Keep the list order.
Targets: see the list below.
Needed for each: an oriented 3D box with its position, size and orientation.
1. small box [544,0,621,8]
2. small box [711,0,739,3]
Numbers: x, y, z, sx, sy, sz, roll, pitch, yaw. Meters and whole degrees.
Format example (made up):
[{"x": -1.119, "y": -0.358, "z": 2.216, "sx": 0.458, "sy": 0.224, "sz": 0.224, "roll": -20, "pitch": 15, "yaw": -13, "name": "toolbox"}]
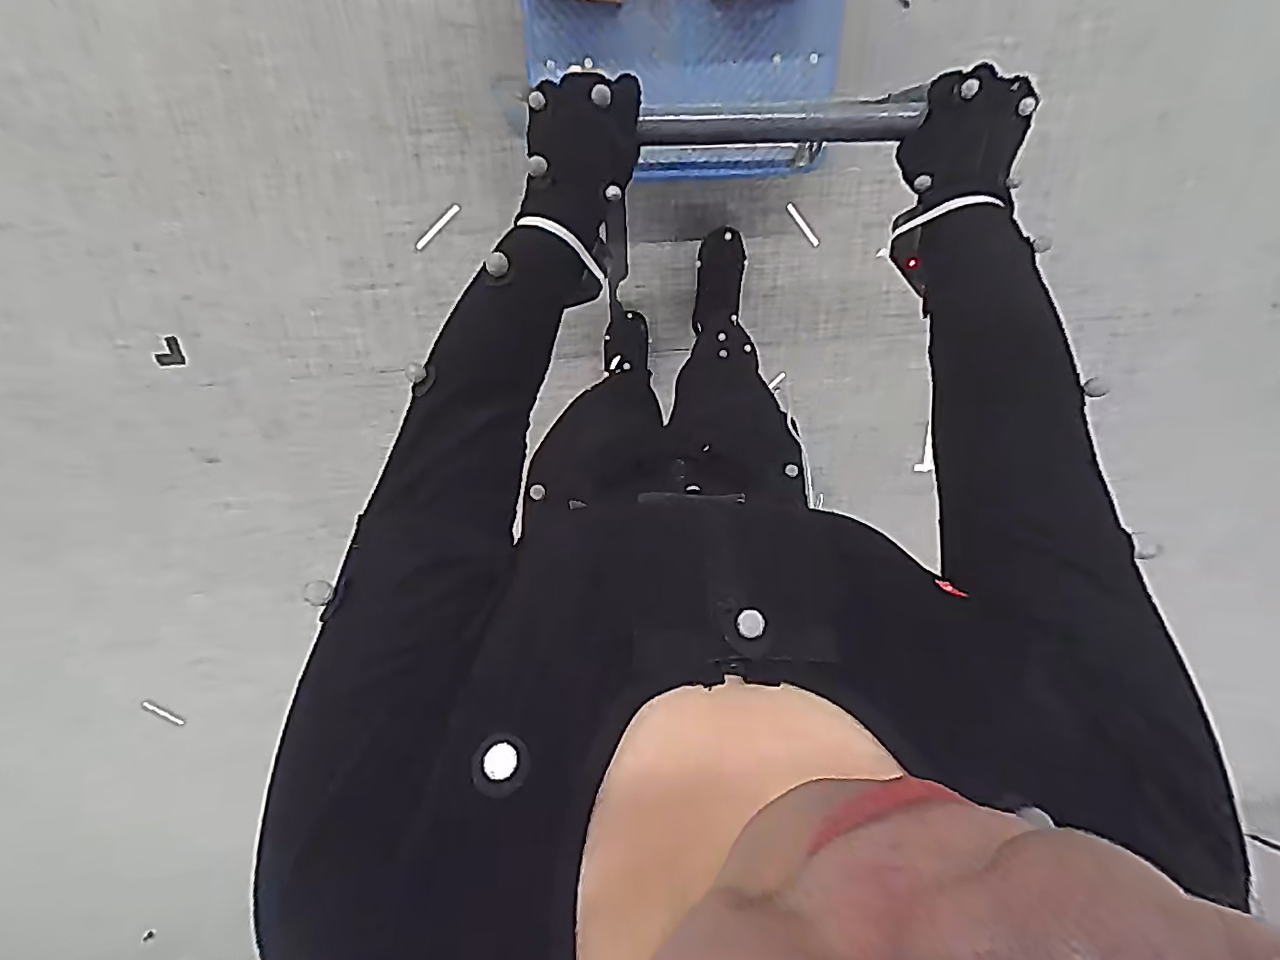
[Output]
[{"x": -0.109, "y": -0.888, "z": 0.858, "sx": 0.179, "sy": 0.176, "sz": 0.168, "roll": 2, "pitch": 114, "yaw": -6, "name": "small box"}, {"x": 0.198, "y": -0.904, "z": 0.865, "sx": 0.179, "sy": 0.176, "sz": 0.168, "roll": -7, "pitch": 115, "yaw": 1, "name": "small box"}]
